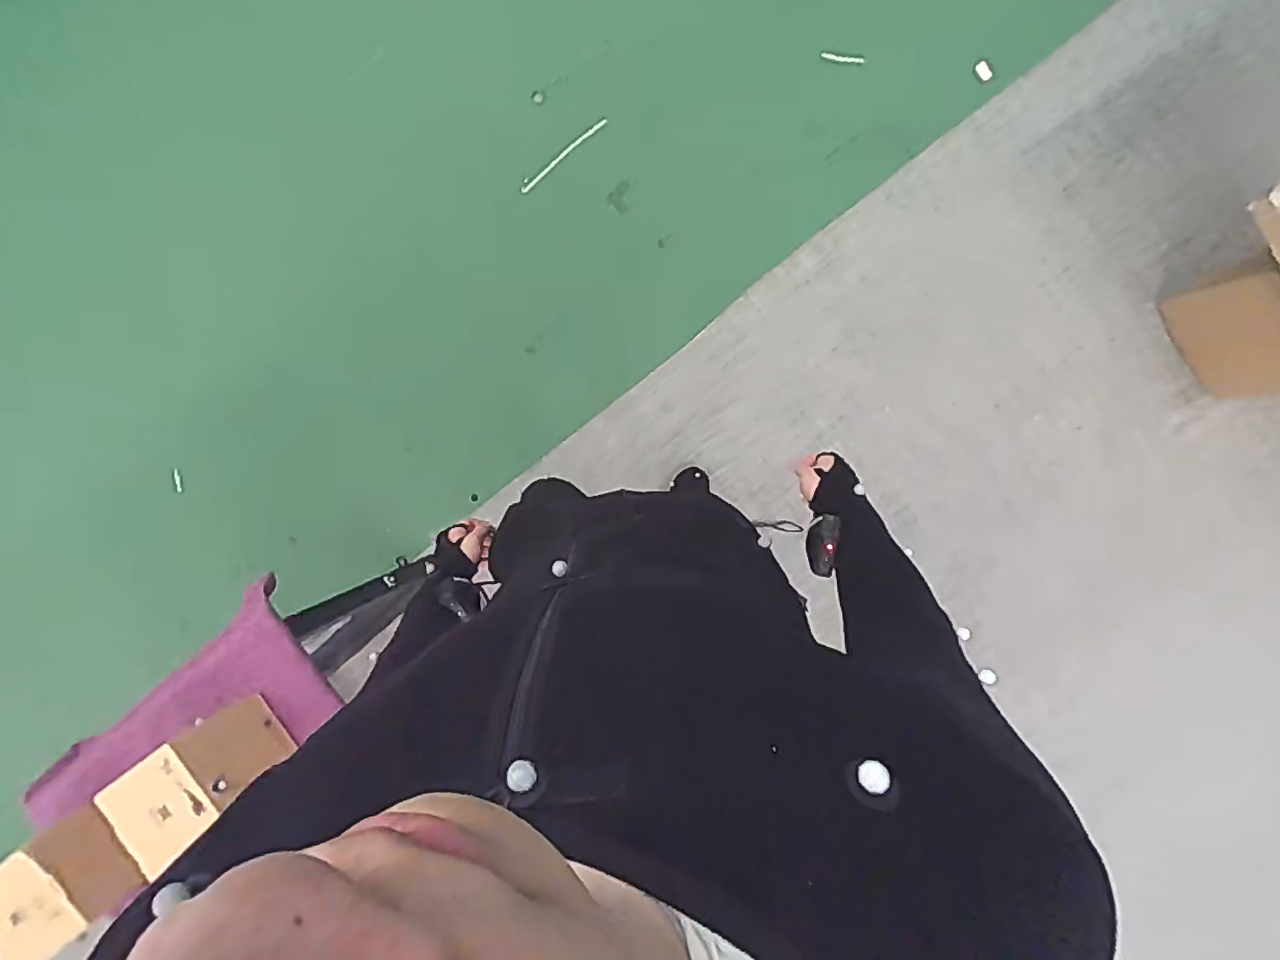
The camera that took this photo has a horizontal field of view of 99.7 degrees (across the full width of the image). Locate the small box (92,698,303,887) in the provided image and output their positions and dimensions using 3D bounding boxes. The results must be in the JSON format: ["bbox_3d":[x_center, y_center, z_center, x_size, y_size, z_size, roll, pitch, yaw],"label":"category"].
[{"bbox_3d":[-0.714,0.503,0.893,0.179,0.176,0.168,-35,92,9],"label":"small box"}]

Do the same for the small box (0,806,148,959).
[{"bbox_3d":[-0.971,0.686,0.926,0.179,0.176,0.168,-39,93,5],"label":"small box"}]
